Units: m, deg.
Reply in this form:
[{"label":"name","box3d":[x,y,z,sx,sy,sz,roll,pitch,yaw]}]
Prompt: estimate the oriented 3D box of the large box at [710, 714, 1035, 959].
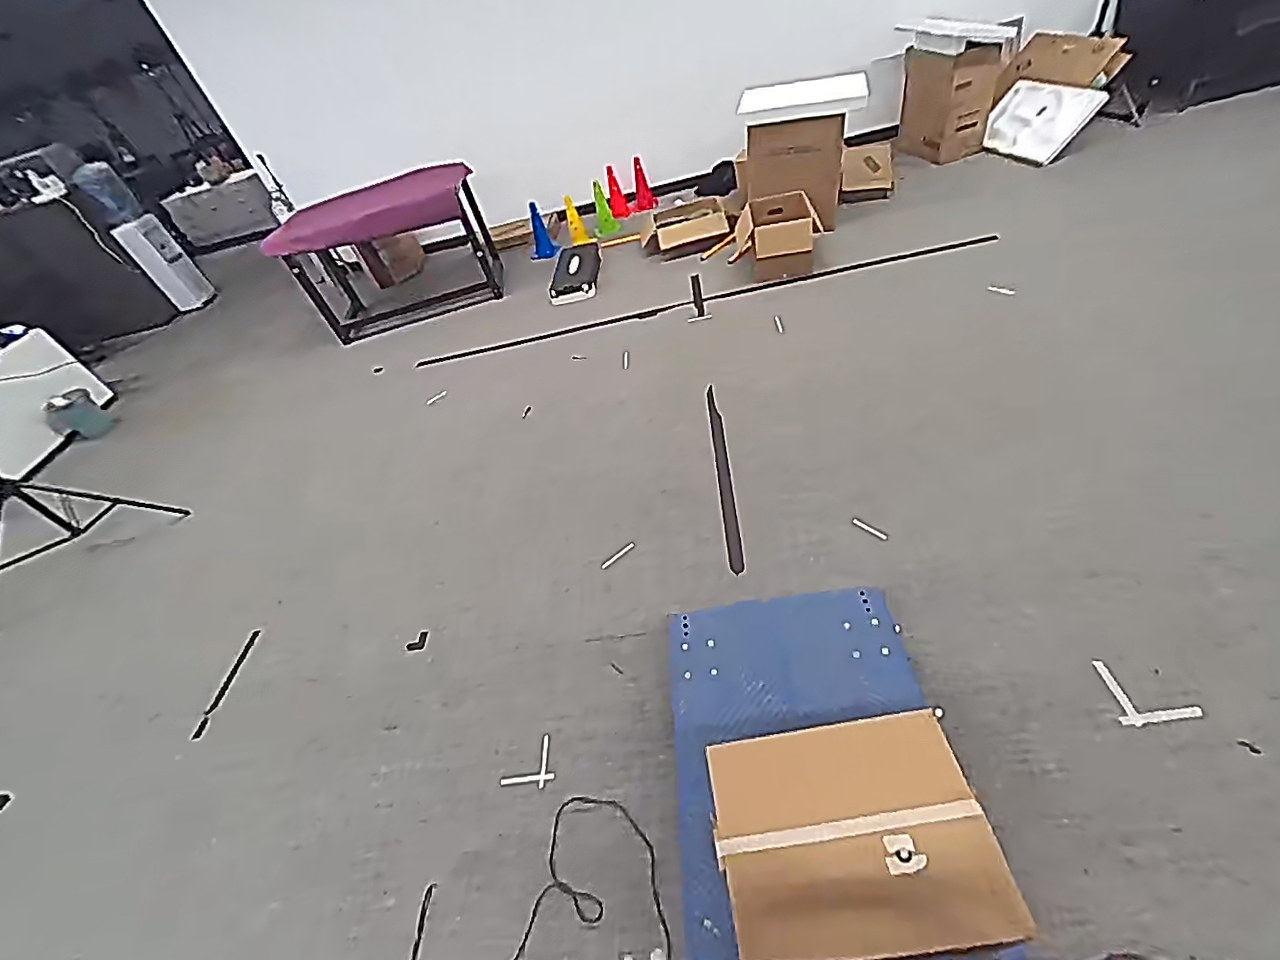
[{"label":"large box","box3d":[0.361,0.662,0.955,0.408,0.320,0.320,-12,44,4]}]
